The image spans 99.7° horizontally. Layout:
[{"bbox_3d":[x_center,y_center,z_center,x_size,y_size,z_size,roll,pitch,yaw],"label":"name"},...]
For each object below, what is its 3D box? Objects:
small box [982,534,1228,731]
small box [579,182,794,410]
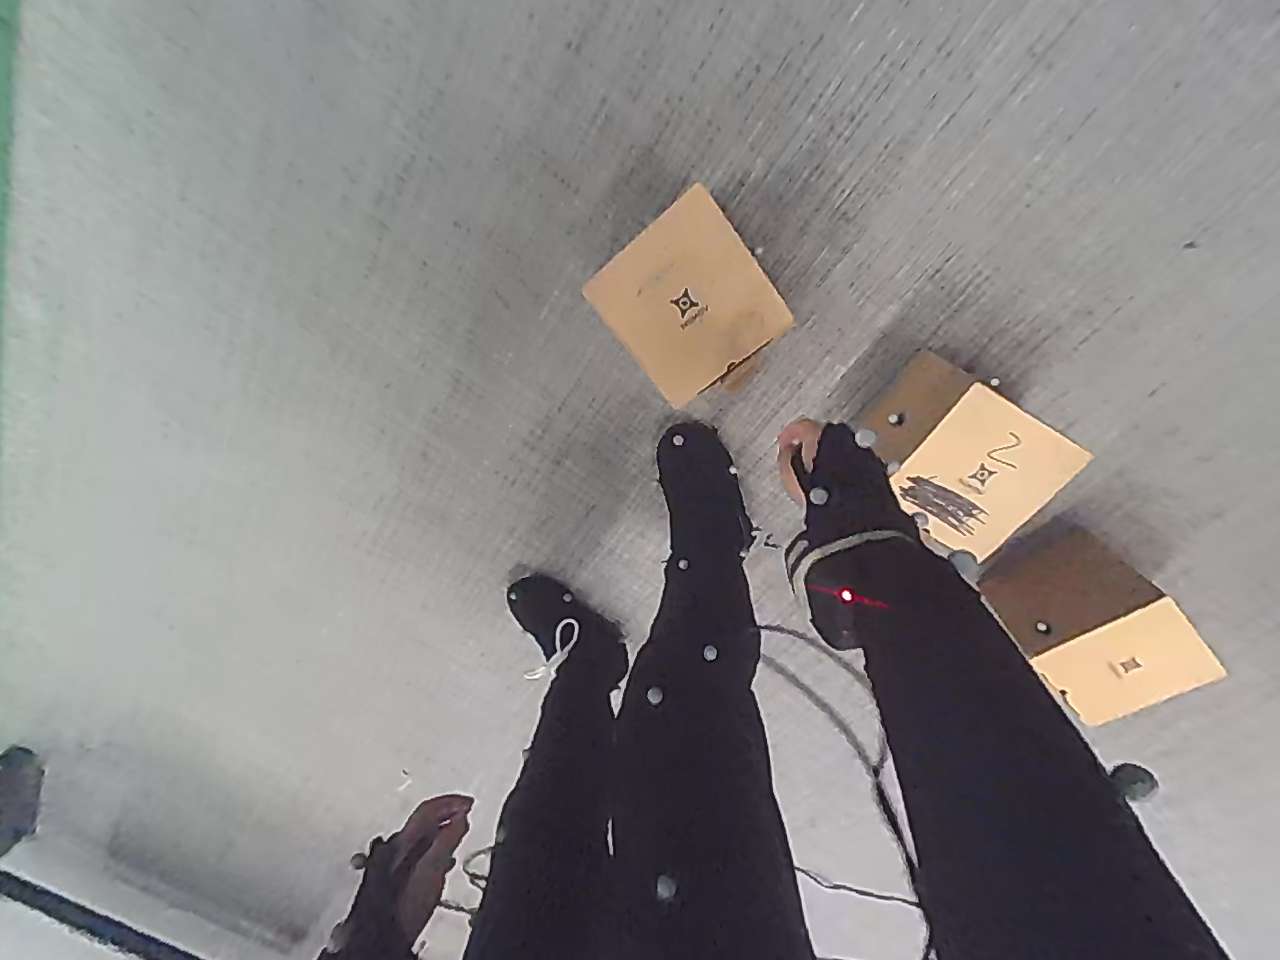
[{"bbox_3d":[0.640,0.209,0.768,0.179,0.176,0.168,-40,105,23],"label":"small box"},{"bbox_3d":[0.059,-0.218,0.641,0.168,0.176,0.179,-35,105,20],"label":"small box"}]
